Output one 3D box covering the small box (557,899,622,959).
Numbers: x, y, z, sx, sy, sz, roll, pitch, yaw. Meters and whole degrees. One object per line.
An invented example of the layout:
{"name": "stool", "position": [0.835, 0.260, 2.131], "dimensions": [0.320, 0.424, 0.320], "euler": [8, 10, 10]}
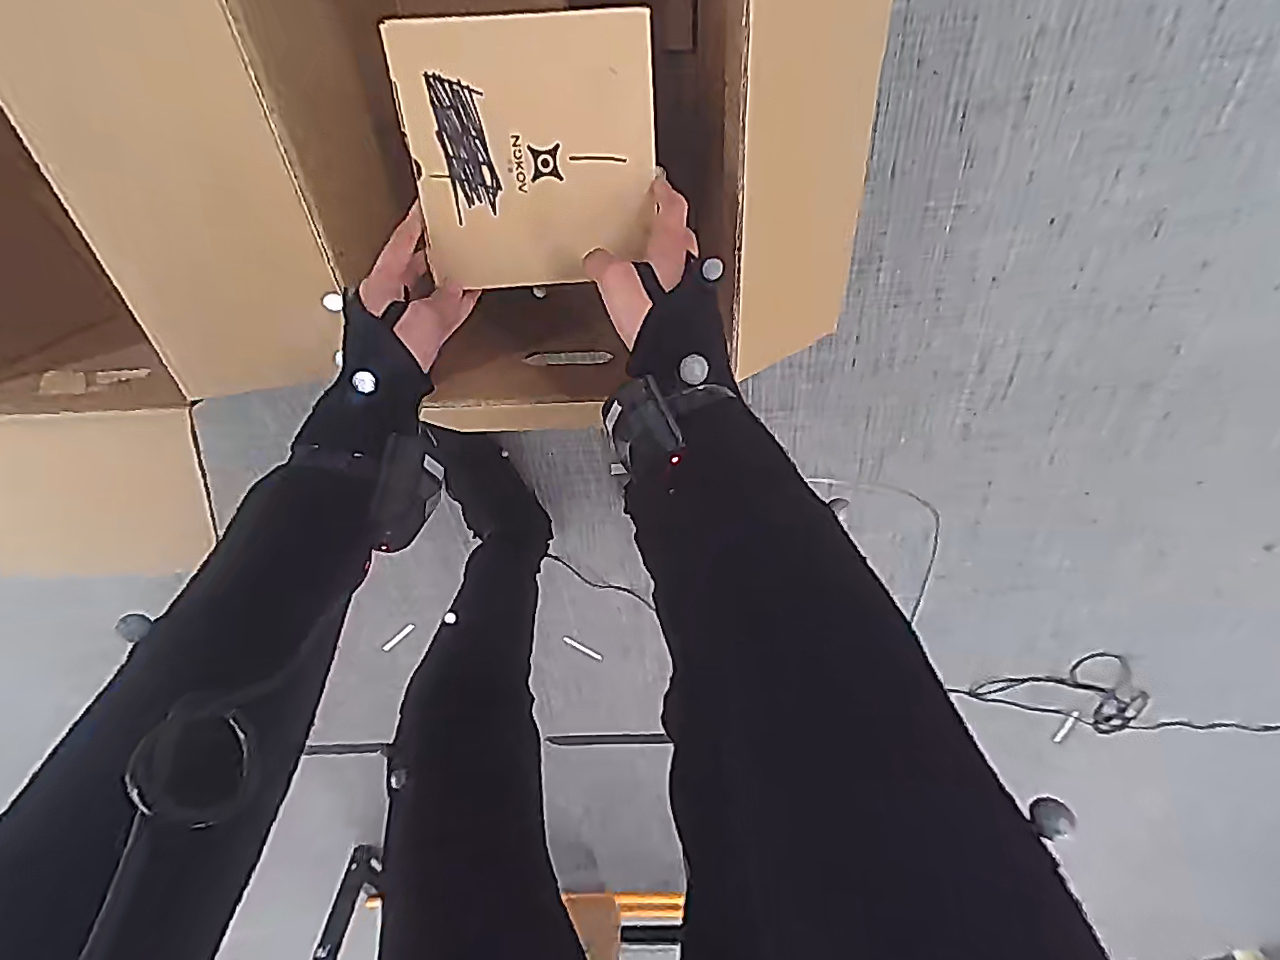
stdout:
{"name": "small box", "position": [-0.158, 1.495, 1.765], "dimensions": [0.179, 0.176, 0.168], "euler": [-5, 126, 5]}
